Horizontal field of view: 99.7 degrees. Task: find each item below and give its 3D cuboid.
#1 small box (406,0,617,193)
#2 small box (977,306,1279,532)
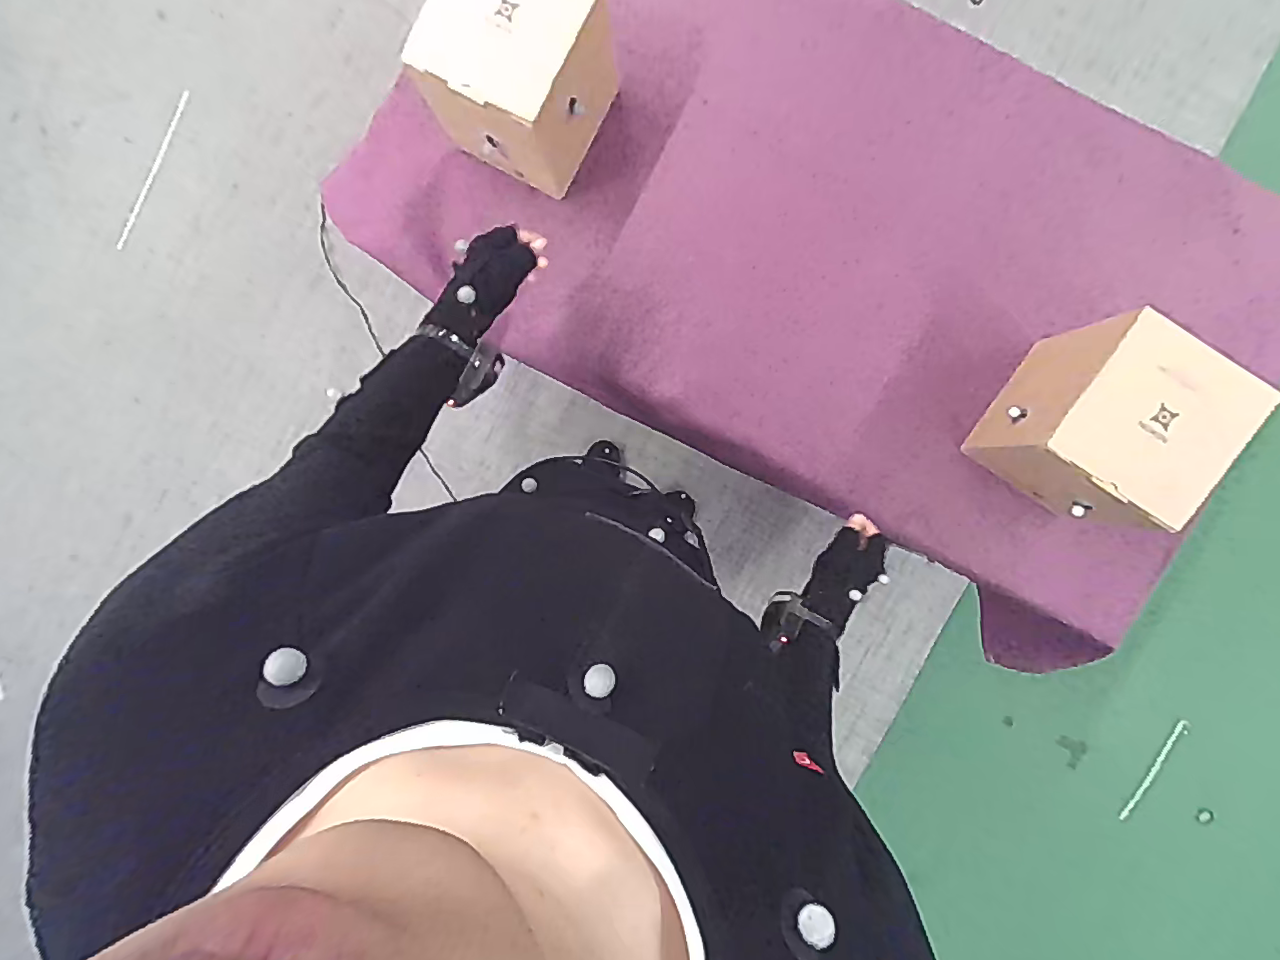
[{"bbox_3d":[-0.138,-0.489,0.652,0.168,0.176,0.179,28,94,1],"label":"small box"},{"bbox_3d":[0.538,-0.063,0.630,0.168,0.176,0.179,35,93,2],"label":"small box"}]
